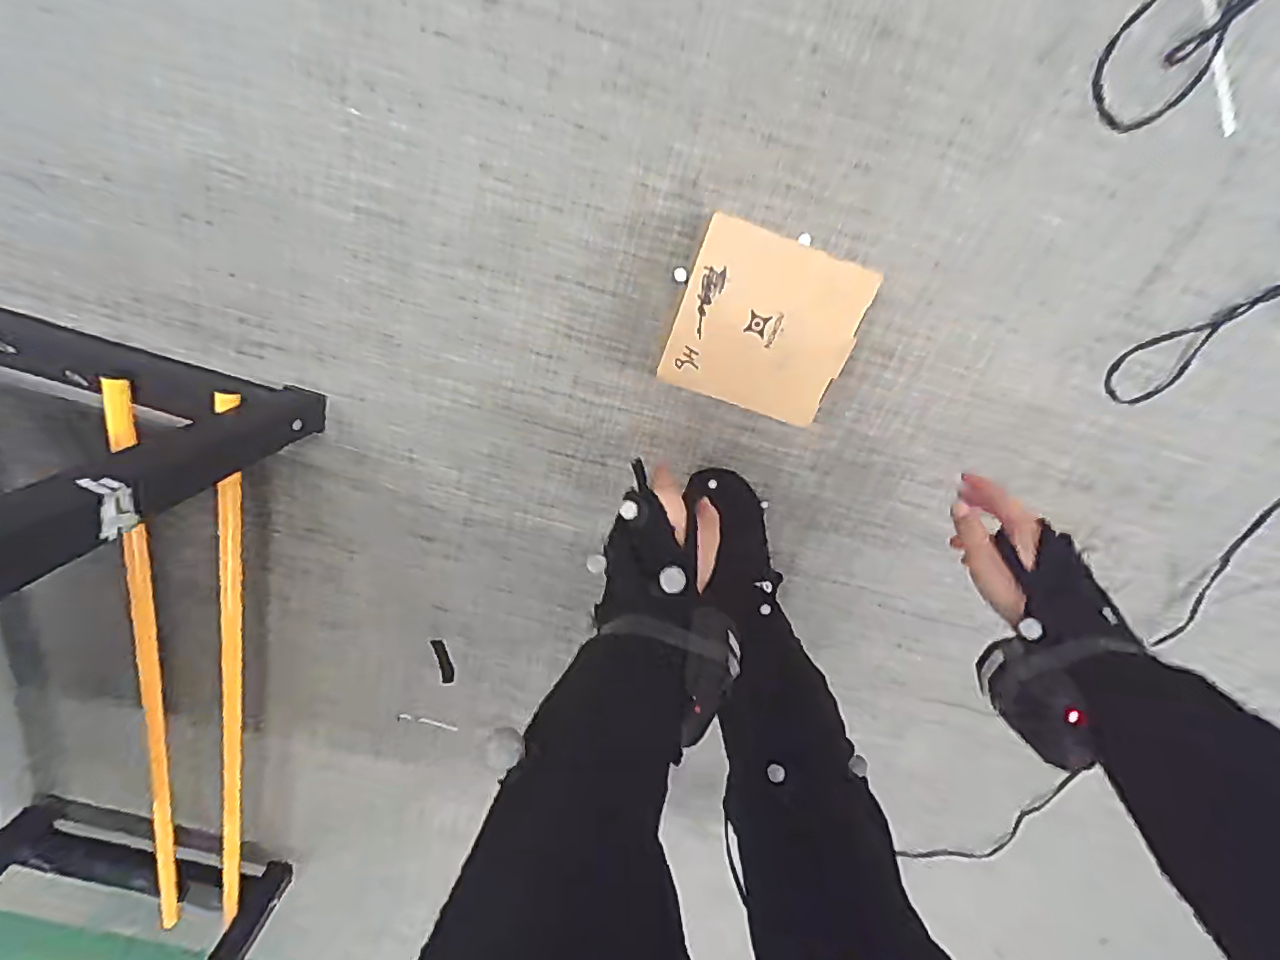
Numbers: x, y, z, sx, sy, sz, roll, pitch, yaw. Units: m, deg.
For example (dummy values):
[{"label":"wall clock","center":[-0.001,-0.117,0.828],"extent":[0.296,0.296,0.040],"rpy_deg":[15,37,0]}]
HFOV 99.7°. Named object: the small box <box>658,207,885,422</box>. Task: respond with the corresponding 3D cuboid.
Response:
[{"label":"small box","center":[0.129,-0.189,0.606],"extent":[0.179,0.176,0.168],"rpy_deg":[18,113,-6]}]
